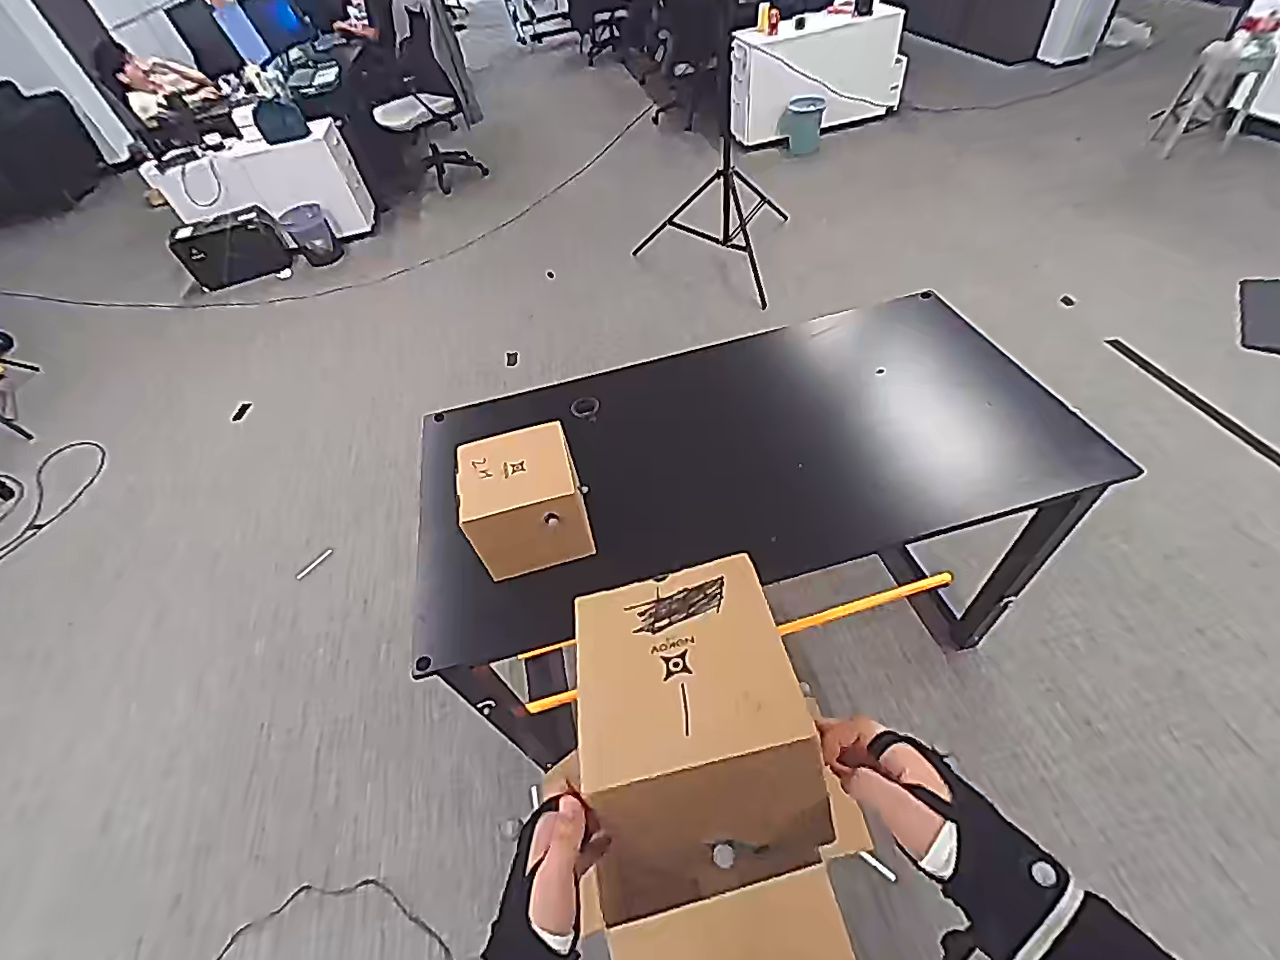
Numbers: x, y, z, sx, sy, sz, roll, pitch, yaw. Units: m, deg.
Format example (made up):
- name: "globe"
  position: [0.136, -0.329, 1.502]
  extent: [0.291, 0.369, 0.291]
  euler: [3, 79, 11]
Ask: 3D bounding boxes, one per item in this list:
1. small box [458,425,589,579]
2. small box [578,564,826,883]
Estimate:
- name: "small box"
  position: [-0.188, 0.040, 0.901]
  extent: [0.179, 0.176, 0.168]
  euler: [-15, 49, -4]
- name: "small box"
  position: [0.050, 0.209, 0.476]
  extent: [0.168, 0.176, 0.179]
  euler: [-17, 34, 4]
